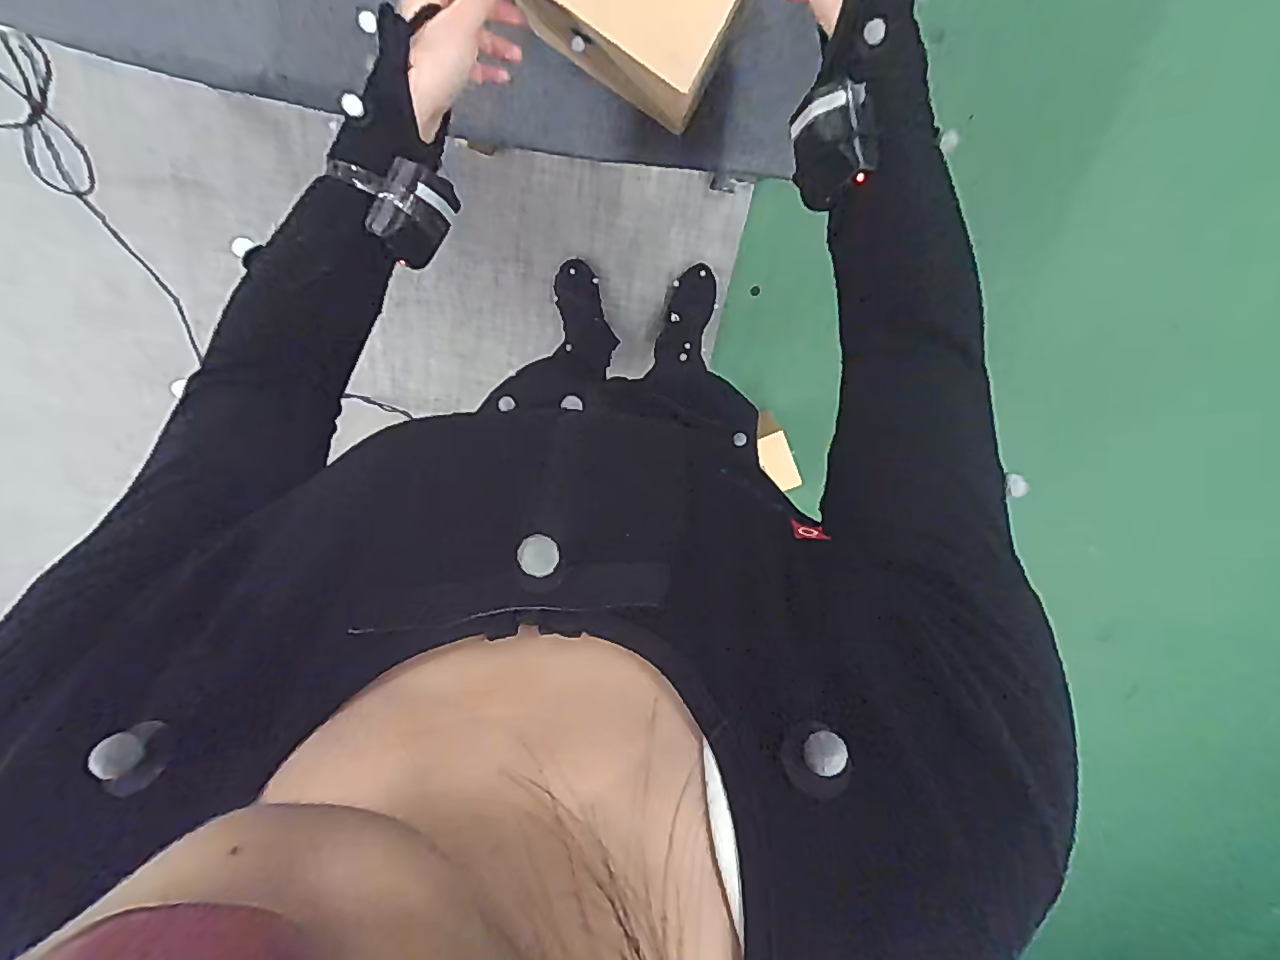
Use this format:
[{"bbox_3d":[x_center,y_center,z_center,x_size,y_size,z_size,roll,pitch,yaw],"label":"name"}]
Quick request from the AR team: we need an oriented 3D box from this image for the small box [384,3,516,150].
[{"bbox_3d":[-0.375,-0.800,1.097,0.179,0.176,0.168,29,113,-10],"label":"small box"}]

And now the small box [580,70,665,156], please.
[{"bbox_3d":[-0.027,-0.770,1.097,0.168,0.176,0.179,5,116,-1],"label":"small box"}]

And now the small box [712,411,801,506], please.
[{"bbox_3d":[0.303,-0.063,1.435,0.179,0.176,0.168,-22,113,13],"label":"small box"}]

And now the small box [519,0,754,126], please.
[{"bbox_3d":[0.004,-0.431,0.447,0.179,0.176,0.168,30,112,-10],"label":"small box"}]

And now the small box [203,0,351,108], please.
[{"bbox_3d":[-0.713,-0.873,1.074,0.179,0.176,0.168,22,115,-7],"label":"small box"}]
